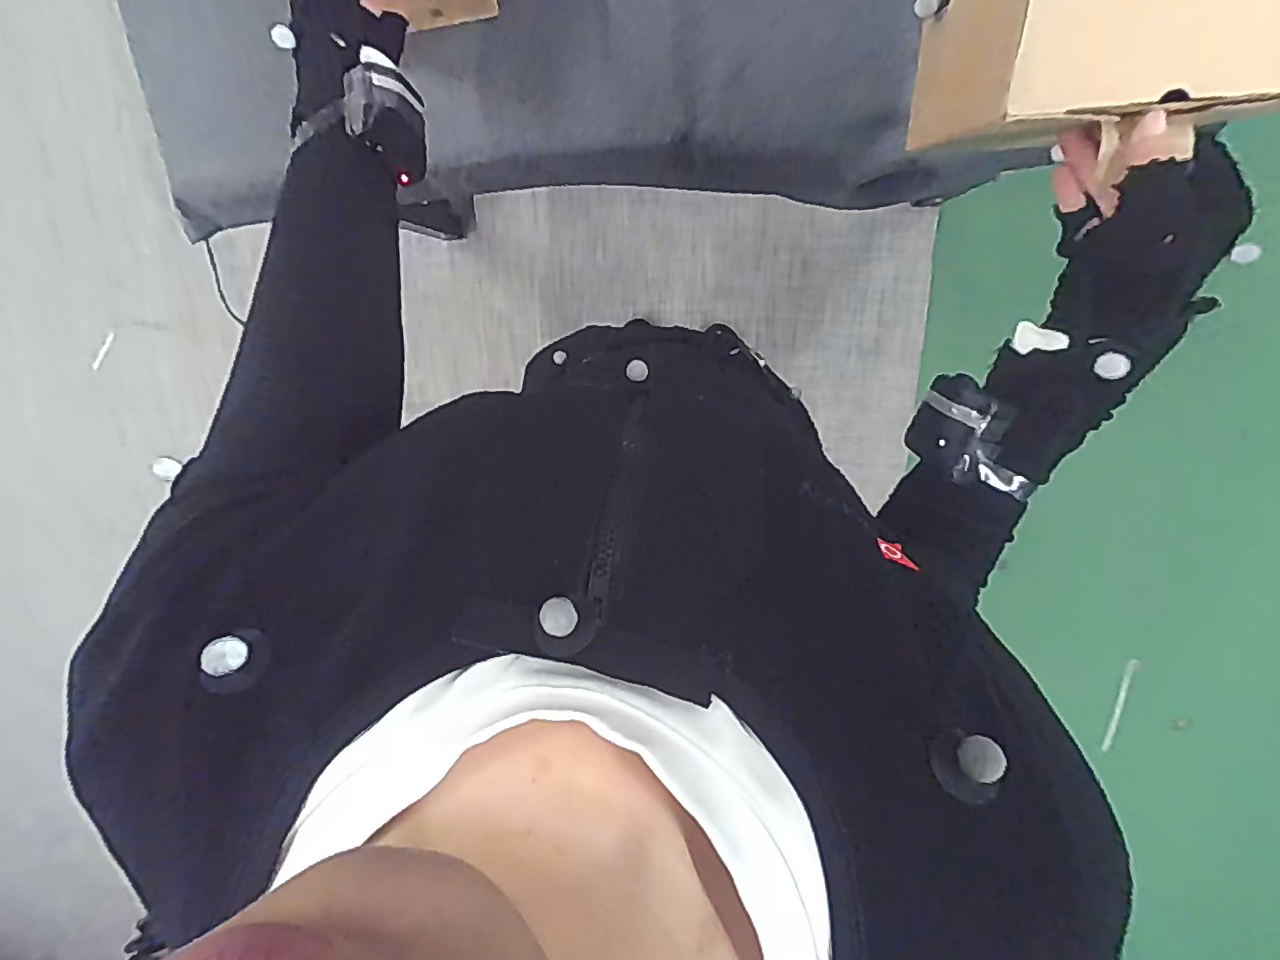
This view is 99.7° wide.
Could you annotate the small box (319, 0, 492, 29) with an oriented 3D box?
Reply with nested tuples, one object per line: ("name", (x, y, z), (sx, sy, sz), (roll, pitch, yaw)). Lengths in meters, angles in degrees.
("small box", (-0.248, -0.552, 0.490), (0.168, 0.176, 0.179), (-5, 105, 6))
